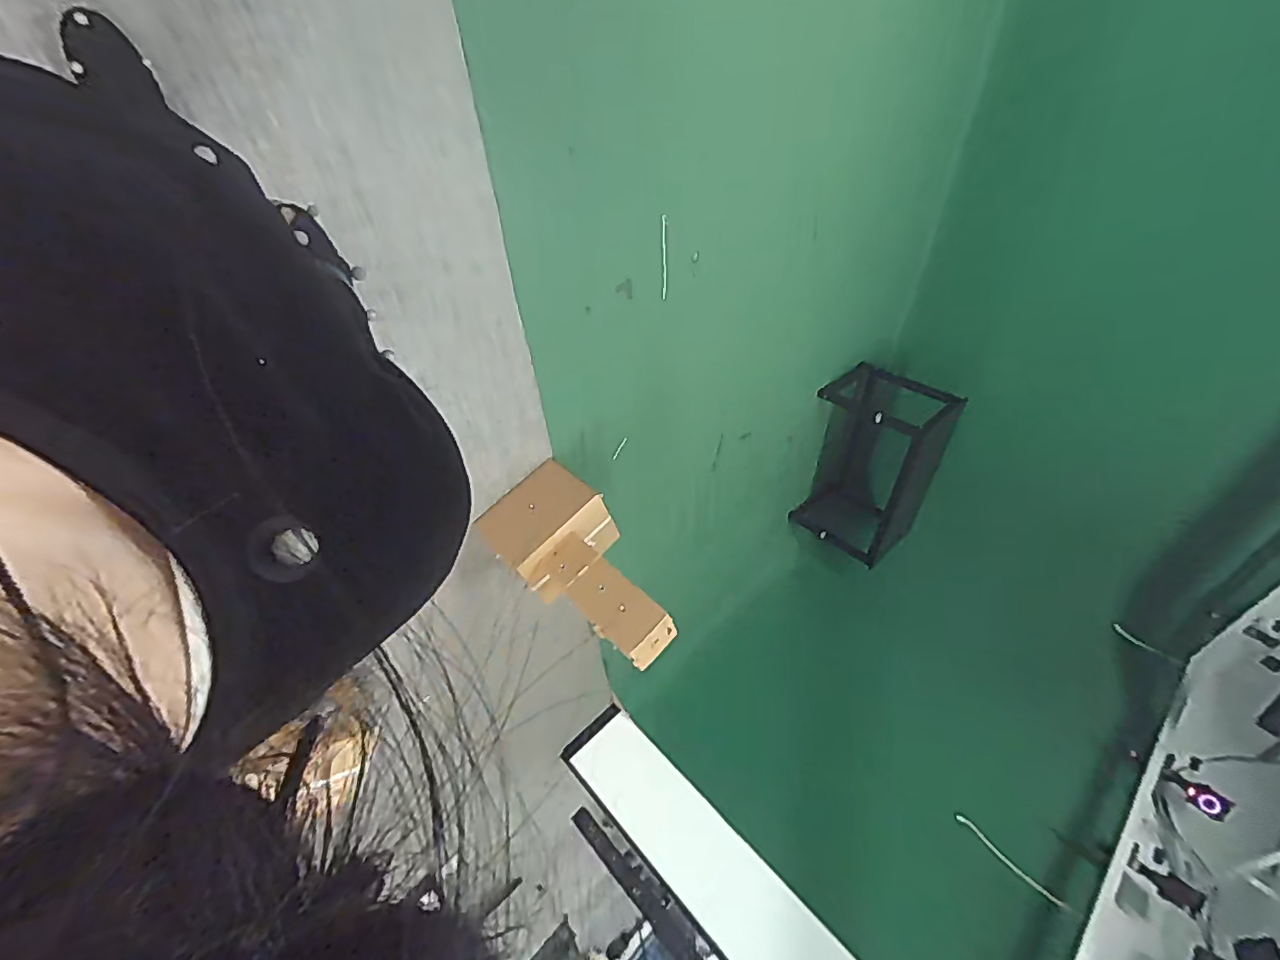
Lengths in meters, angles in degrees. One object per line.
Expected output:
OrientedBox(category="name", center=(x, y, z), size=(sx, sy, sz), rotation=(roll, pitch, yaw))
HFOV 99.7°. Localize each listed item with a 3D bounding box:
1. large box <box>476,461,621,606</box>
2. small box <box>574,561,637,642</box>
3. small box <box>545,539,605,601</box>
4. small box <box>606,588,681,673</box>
OrientedBox(category="large box", center=(-0.351, 0.205, 2.121), size=(0.408, 0.320, 0.320), rotation=(-45, 145, -18))
OrientedBox(category="small box", center=(-0.108, 0.416, 1.867), size=(0.179, 0.176, 0.168), rotation=(-44, 143, -17))
OrientedBox(category="small box", center=(-0.217, 0.337, 1.959), size=(0.168, 0.176, 0.179), rotation=(-43, 143, -18))
OrientedBox(category="small box", center=(0.007, 0.491, 1.775), size=(0.179, 0.176, 0.168), rotation=(-42, 143, -17))
